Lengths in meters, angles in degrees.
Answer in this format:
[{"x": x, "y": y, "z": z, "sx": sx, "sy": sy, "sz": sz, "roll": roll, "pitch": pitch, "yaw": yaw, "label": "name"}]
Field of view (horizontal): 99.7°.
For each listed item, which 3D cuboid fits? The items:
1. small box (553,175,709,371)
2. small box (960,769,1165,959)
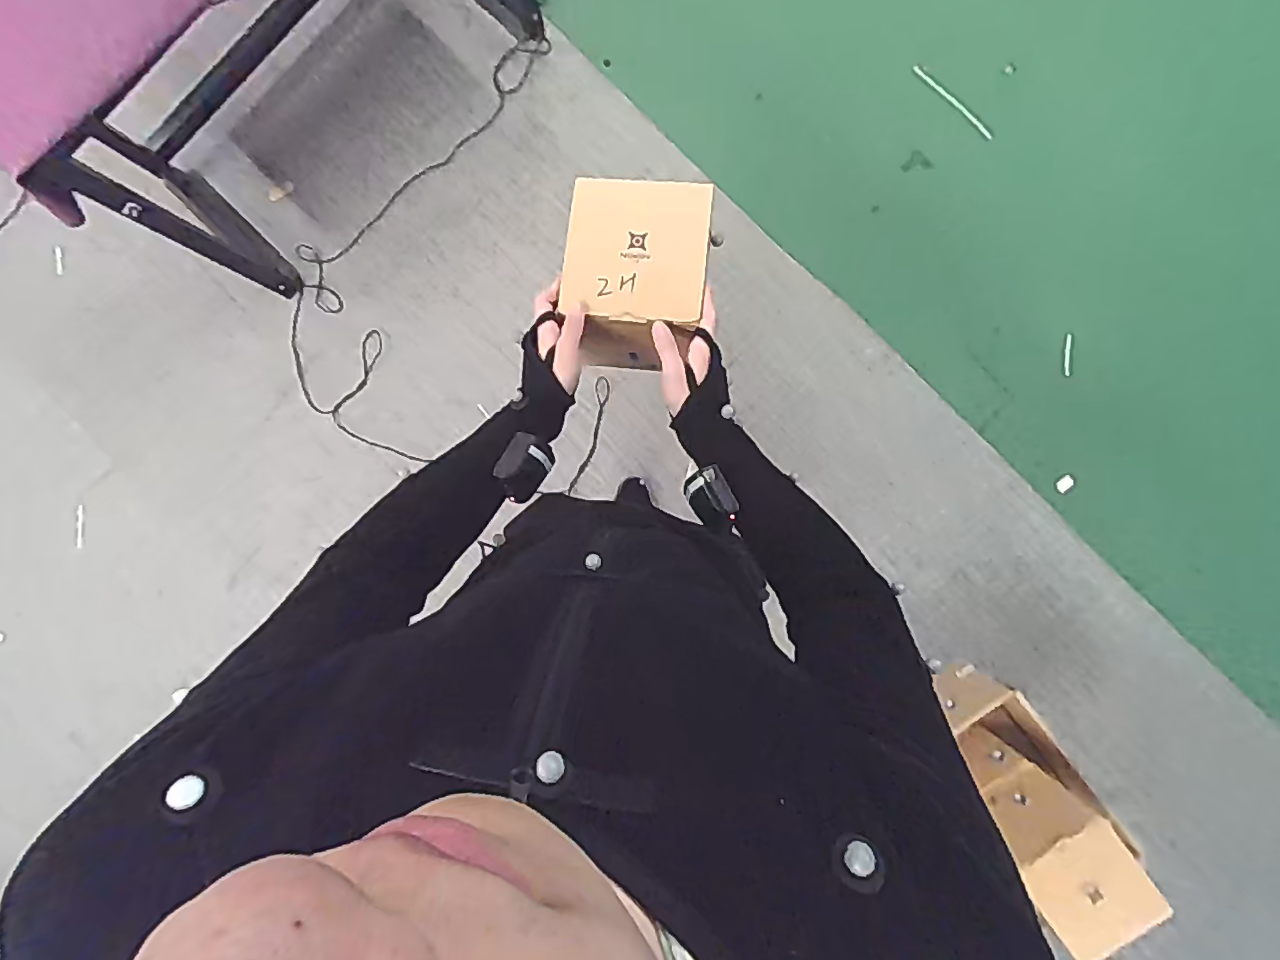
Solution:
[{"x": -0.004, "y": -0.258, "z": 0.702, "sx": 0.168, "sy": 0.176, "sz": 0.179, "roll": 6, "pitch": 83, "yaw": 6, "label": "small box"}, {"x": 0.696, "y": 0.639, "z": 0.915, "sx": 0.168, "sy": 0.176, "sz": 0.179, "roll": -35, "pitch": 86, "yaw": 2, "label": "small box"}]
